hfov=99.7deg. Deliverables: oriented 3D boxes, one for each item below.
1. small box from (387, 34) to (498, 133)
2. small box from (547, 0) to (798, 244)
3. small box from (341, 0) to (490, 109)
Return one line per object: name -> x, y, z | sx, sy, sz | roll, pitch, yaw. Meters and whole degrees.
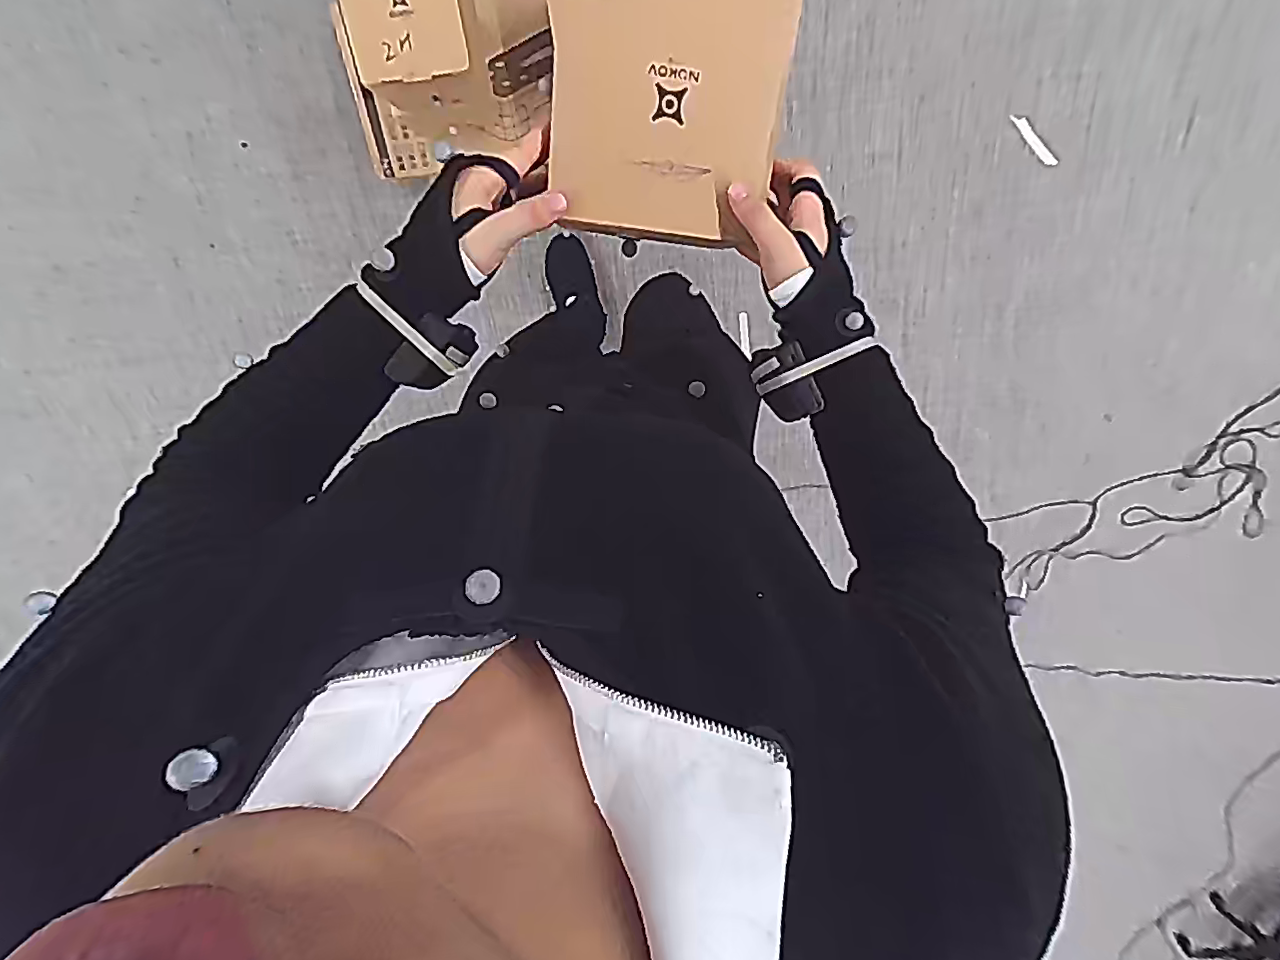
small box -> -0.372, -0.764, 0.994 | 0.168, 0.176, 0.179 | -9, 115, 0
small box -> 0.014, -0.306, 0.458 | 0.168, 0.176, 0.179 | 5, 113, -6
small box -> -0.344, -0.706, 0.840 | 0.168, 0.176, 0.179 | -7, 114, 0
